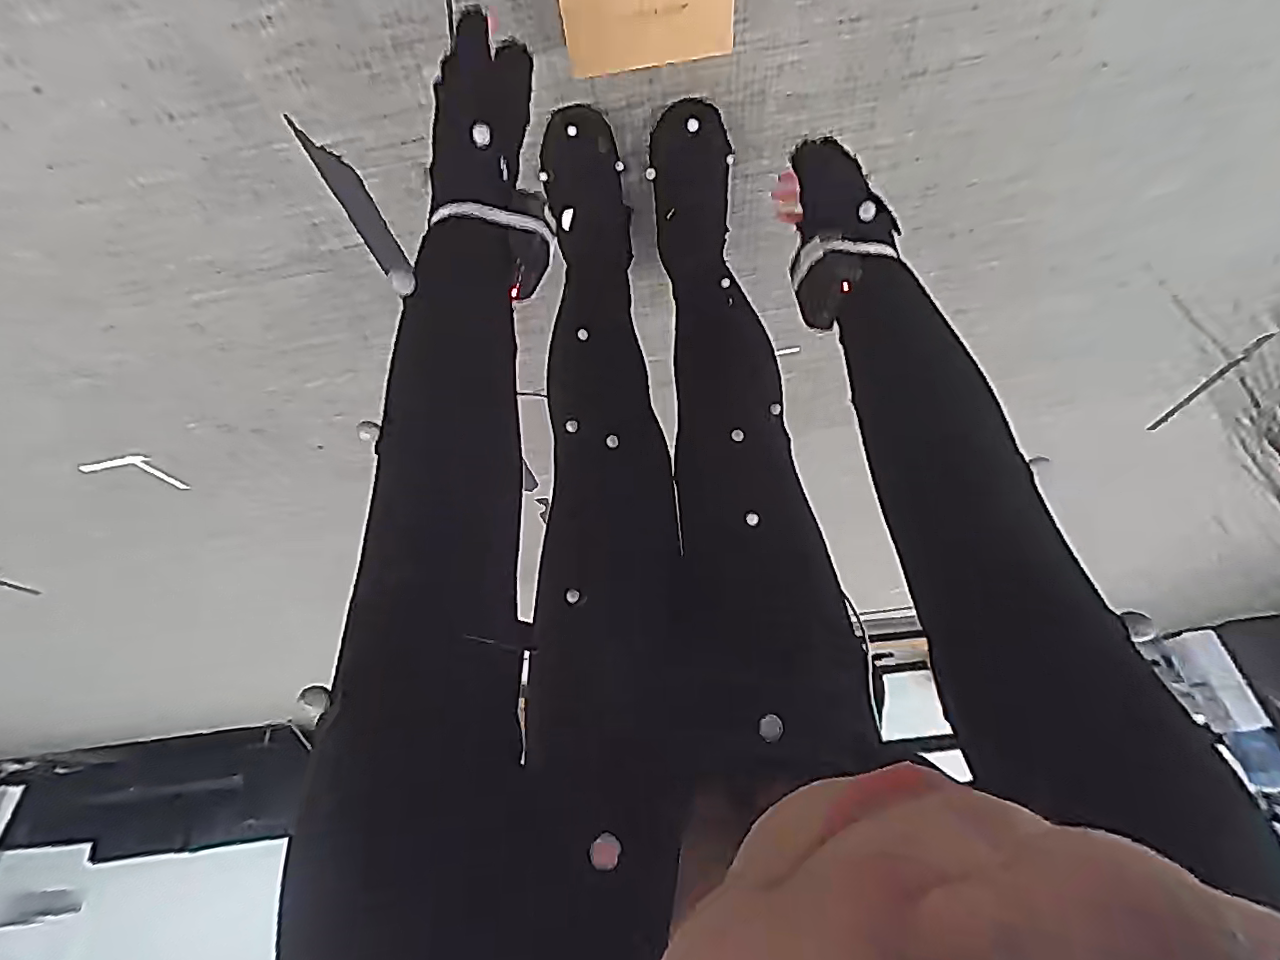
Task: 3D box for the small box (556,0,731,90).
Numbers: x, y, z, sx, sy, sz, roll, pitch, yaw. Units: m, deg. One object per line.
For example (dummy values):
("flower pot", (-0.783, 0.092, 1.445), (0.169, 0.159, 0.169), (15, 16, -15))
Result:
("small box", (-0.006, -0.522, 0.518), (0.168, 0.176, 0.179), (-7, 151, 2))
